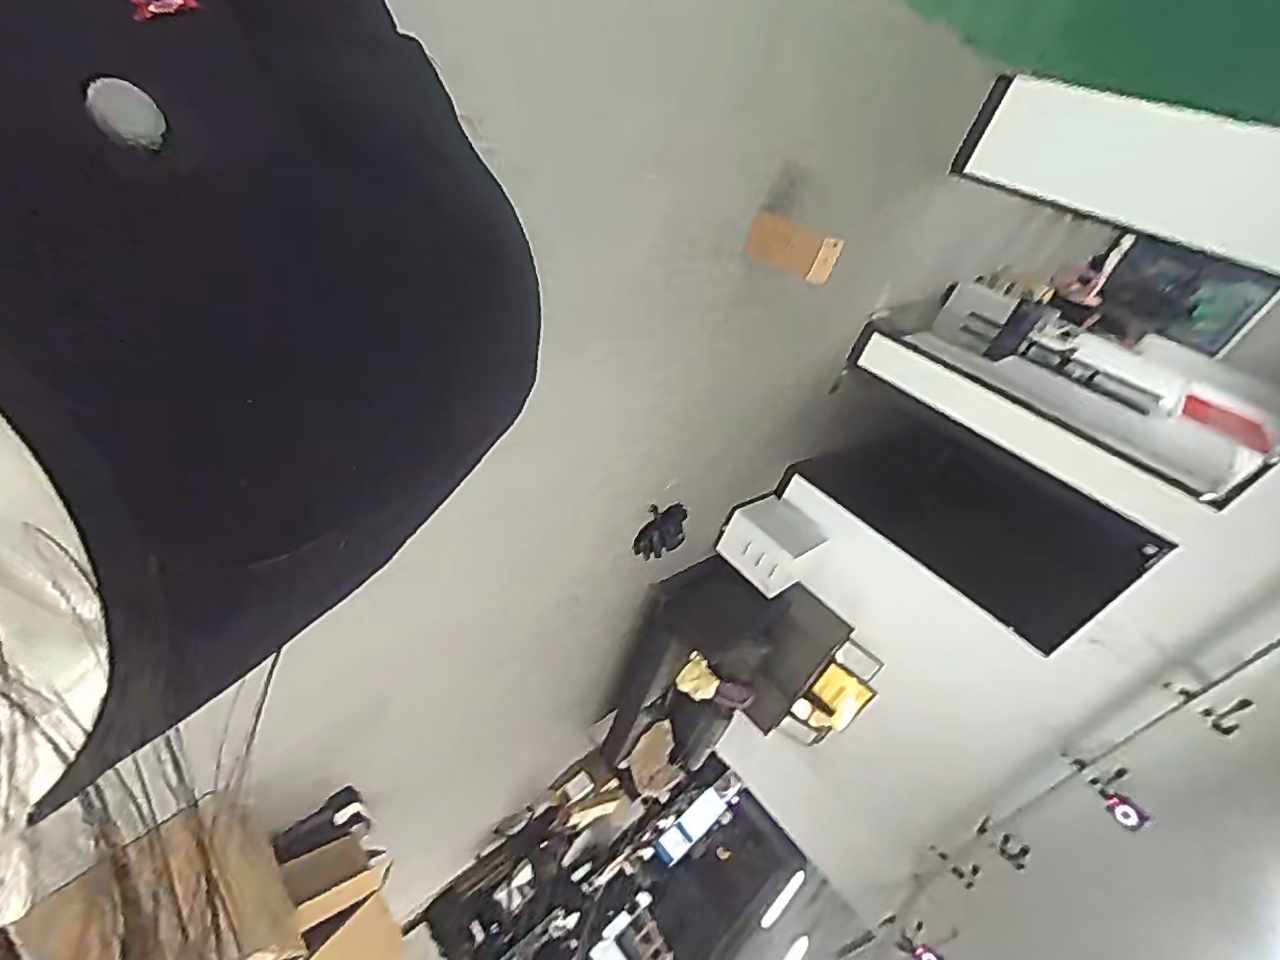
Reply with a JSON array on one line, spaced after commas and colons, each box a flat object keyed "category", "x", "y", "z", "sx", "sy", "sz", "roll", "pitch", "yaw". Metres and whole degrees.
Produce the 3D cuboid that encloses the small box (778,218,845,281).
[{"category": "small box", "x": 0.685, "y": -0.928, "z": 2.182, "sx": 0.168, "sy": 0.176, "sz": 0.179, "roll": -14, "pitch": 137, "yaw": -45}]
